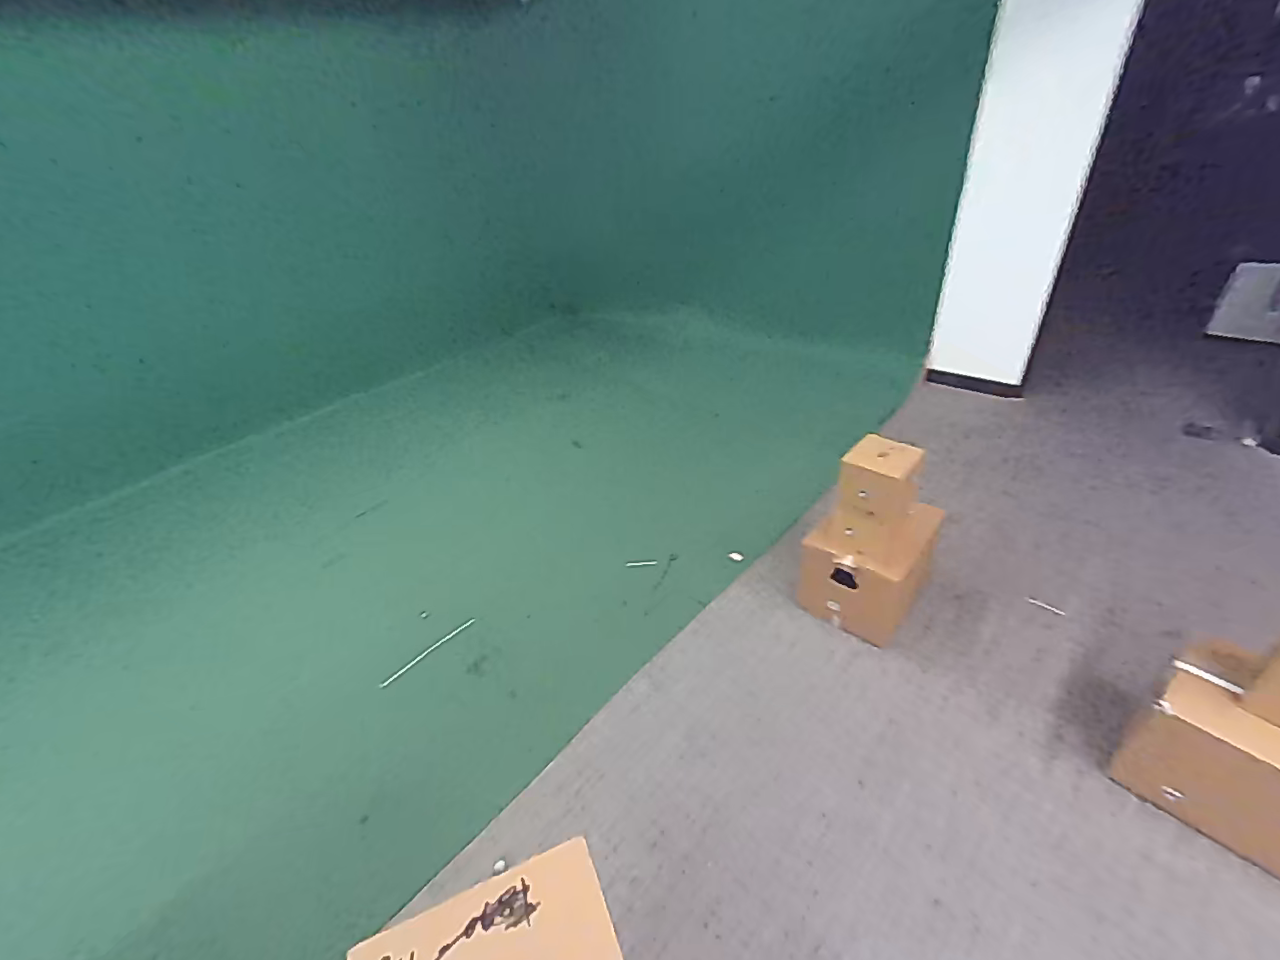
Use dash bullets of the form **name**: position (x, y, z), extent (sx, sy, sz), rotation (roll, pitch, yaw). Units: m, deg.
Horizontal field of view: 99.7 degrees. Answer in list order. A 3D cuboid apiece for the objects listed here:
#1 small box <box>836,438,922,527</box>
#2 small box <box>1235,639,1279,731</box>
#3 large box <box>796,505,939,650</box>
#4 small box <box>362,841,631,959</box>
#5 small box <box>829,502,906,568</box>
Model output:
- **small box**: position (0.682, 0.008, 1.556), extent (0.168, 0.176, 0.179), rotation (26, 46, 38)
- **small box**: position (1.397, 0.434, 1.106), extent (0.168, 0.176, 0.179), rotation (-26, 39, -29)
- **large box**: position (0.771, 0.292, 1.851), extent (0.320, 0.320, 0.408), rotation (24, 44, 36)
- **small box**: position (-0.077, 0.398, 0.377), extent (0.168, 0.176, 0.179), rotation (-15, 46, -17)
- **small box**: position (0.695, 0.139, 1.657), extent (0.168, 0.176, 0.179), rotation (25, 45, 38)
